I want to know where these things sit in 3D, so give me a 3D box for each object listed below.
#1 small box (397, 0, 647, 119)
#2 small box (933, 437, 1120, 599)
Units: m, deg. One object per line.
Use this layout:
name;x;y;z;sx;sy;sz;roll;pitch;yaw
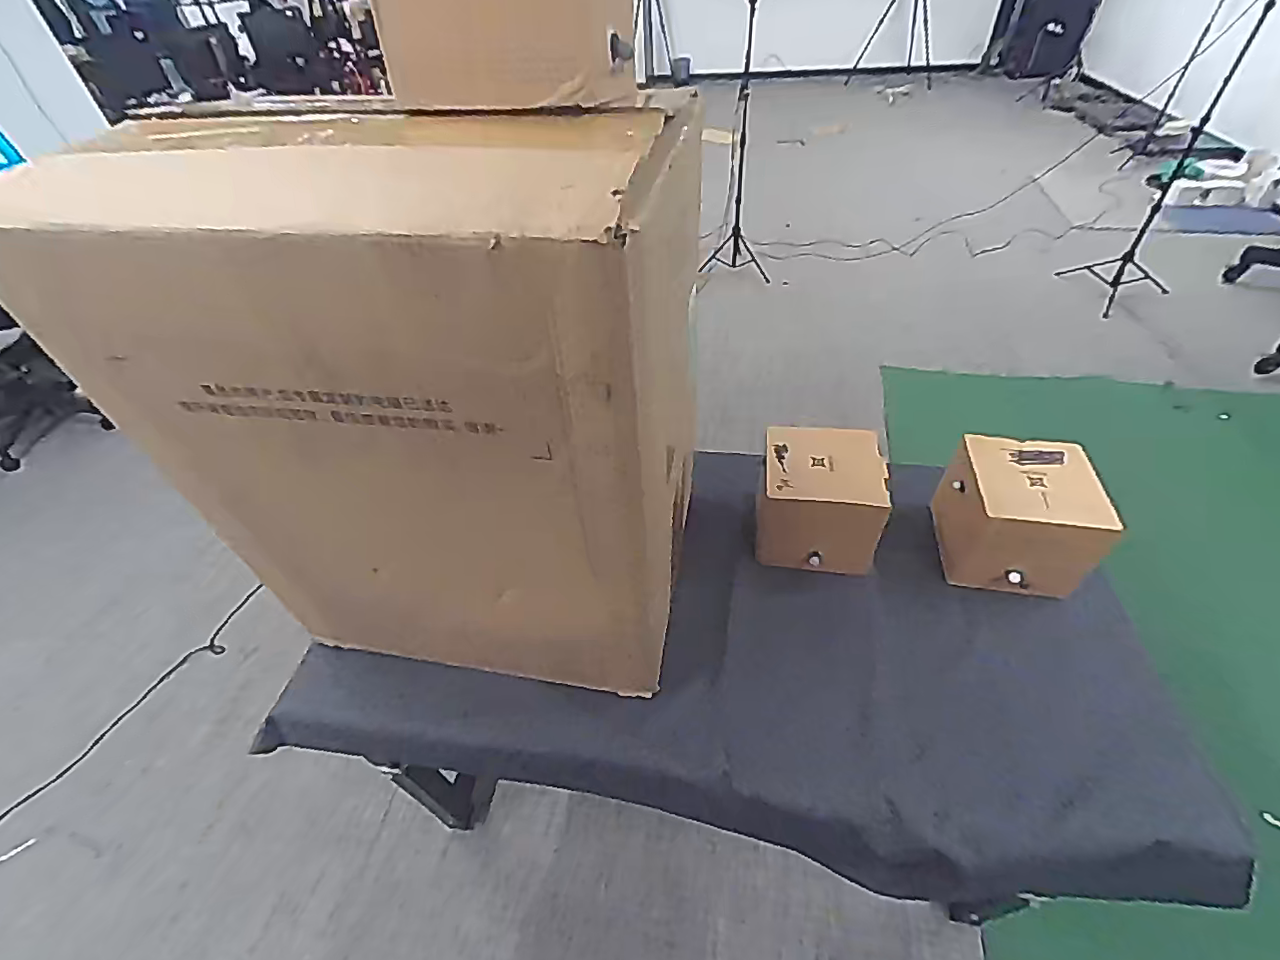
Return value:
small box;-0.095;-0.416;0.462;0.179;0.176;0.168;7;41;9
small box;0.581;0.058;0.847;0.168;0.176;0.179;6;46;11
